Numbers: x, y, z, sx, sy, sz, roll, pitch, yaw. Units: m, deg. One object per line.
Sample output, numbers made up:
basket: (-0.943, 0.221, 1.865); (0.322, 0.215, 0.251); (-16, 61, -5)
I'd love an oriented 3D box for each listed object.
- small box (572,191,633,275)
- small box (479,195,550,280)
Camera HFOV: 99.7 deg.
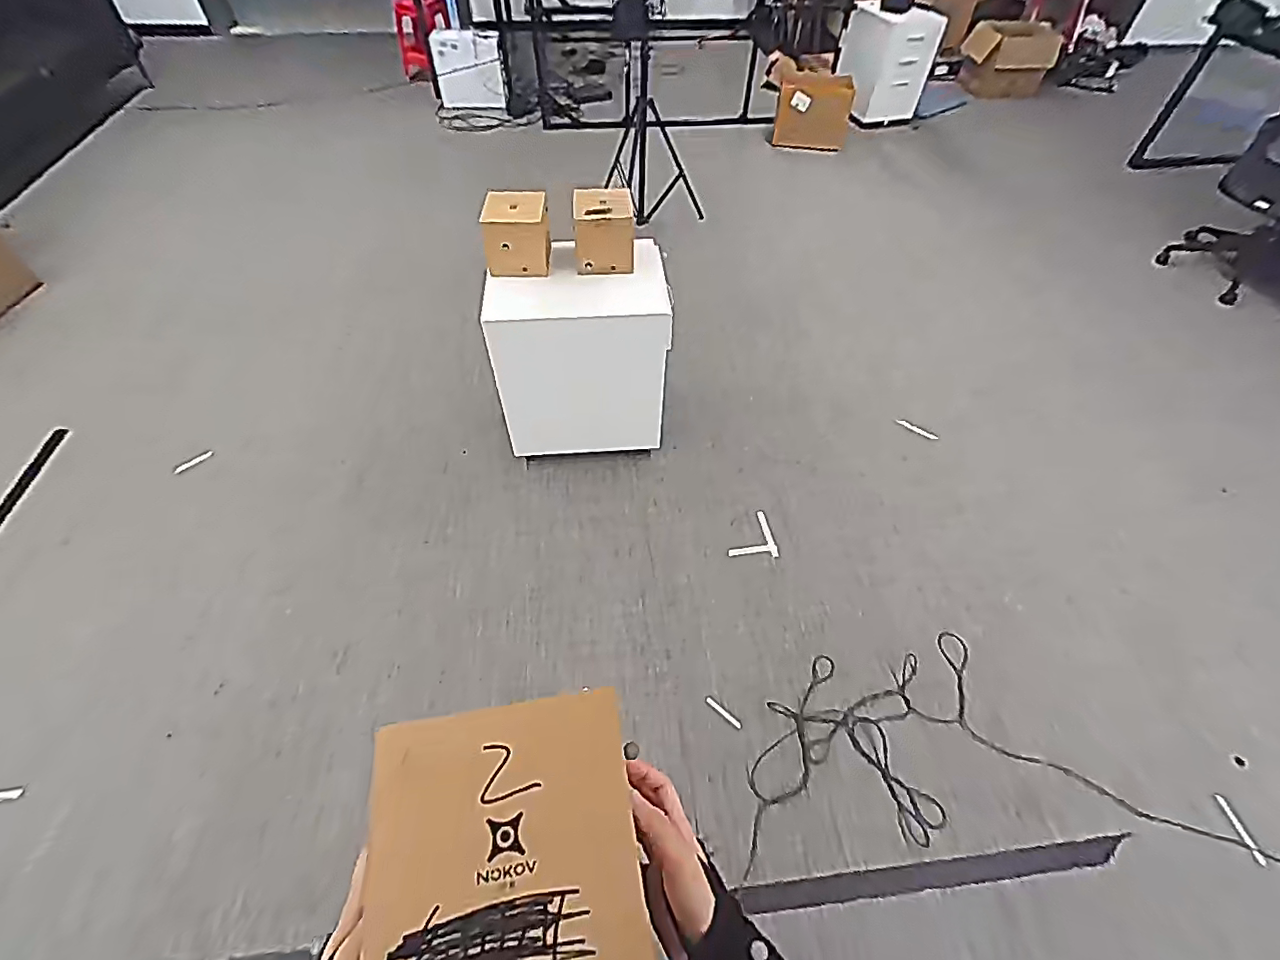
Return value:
small box: (-0.108, -0.712, 1.571); (0.168, 0.176, 0.179); (-3, 52, -3)
small box: (-0.353, -0.693, 1.552); (0.168, 0.176, 0.179); (-1, 52, -3)
